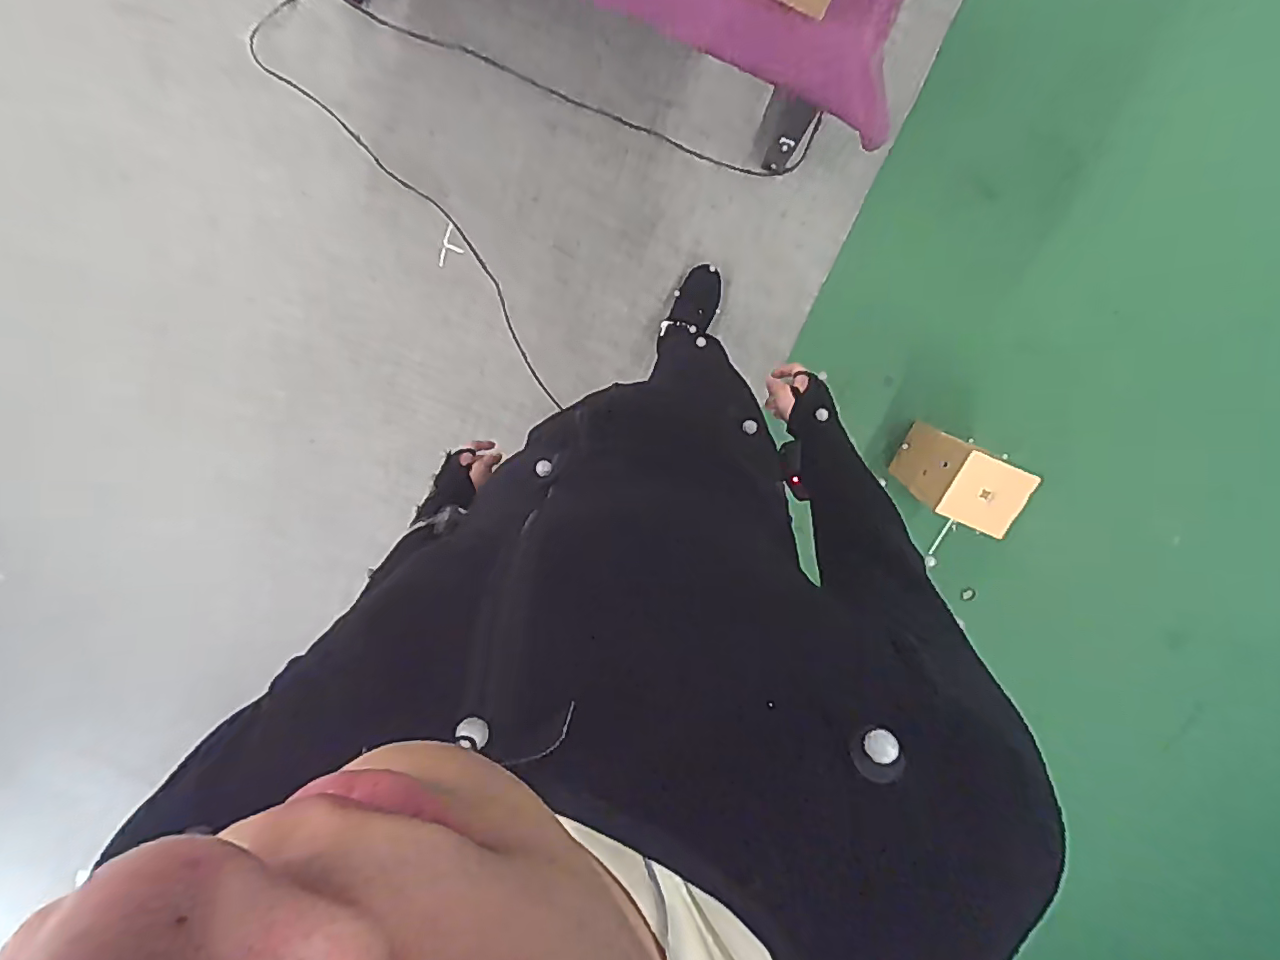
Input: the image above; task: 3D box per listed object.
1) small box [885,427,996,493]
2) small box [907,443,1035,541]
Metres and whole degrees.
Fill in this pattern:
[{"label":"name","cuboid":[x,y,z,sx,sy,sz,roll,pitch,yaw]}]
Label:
[{"label":"small box","cuboid":[0.809,-0.031,1.474,0.179,0.176,0.168,23,107,-1]},{"label":"small box","cuboid":[0.794,0.020,1.322,0.179,0.176,0.168,22,107,-3]}]
